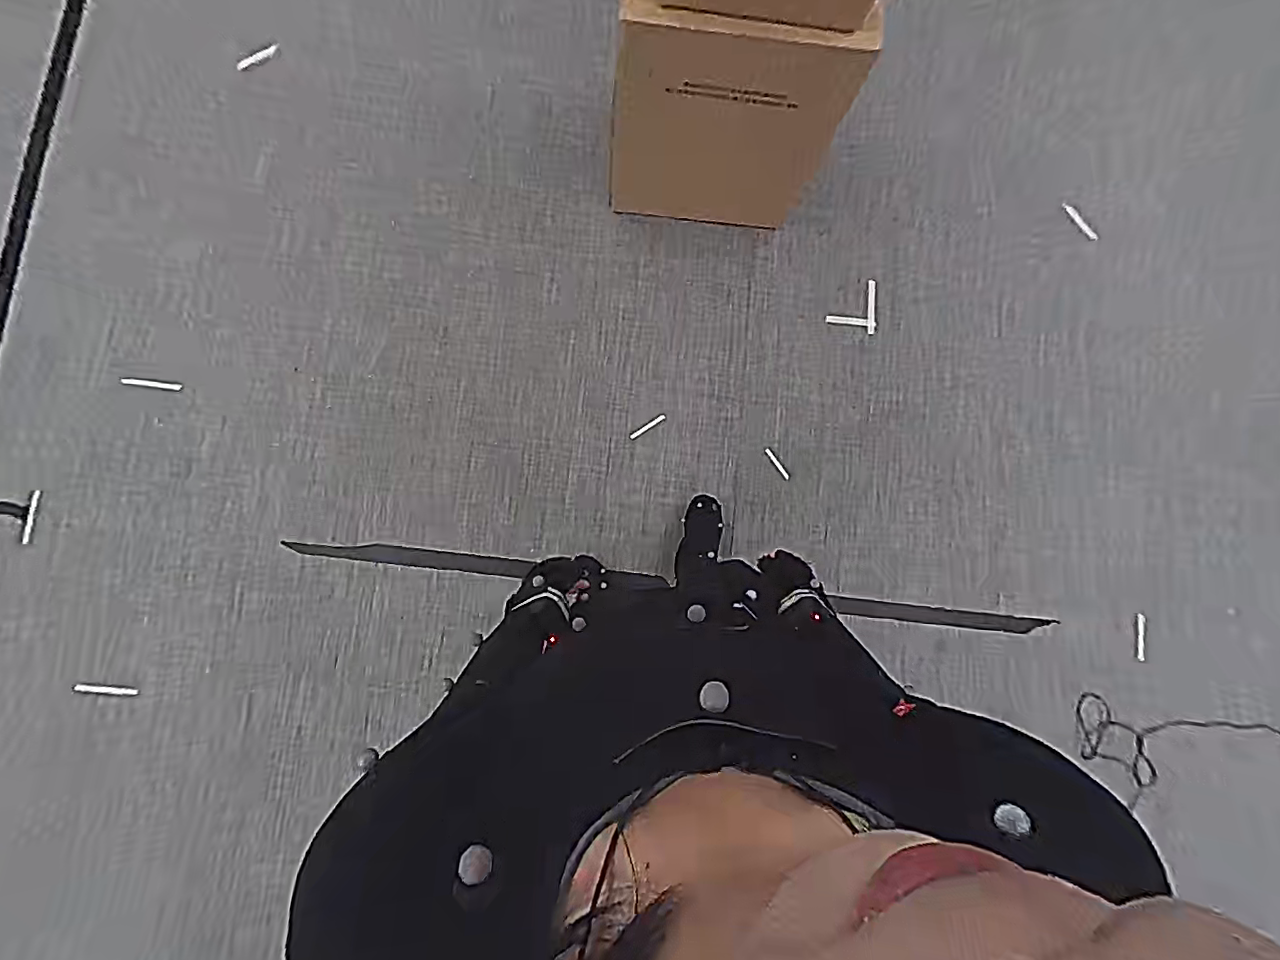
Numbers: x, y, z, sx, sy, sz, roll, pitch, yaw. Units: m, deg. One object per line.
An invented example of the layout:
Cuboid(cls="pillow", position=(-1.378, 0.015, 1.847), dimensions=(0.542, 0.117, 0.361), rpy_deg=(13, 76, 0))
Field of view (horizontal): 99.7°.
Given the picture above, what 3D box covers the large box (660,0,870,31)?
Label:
Cuboid(cls="large box", position=(0.251, -1.066, 0.934), dimensions=(0.408, 0.320, 0.320), rpy_deg=(4, 84, -5))
